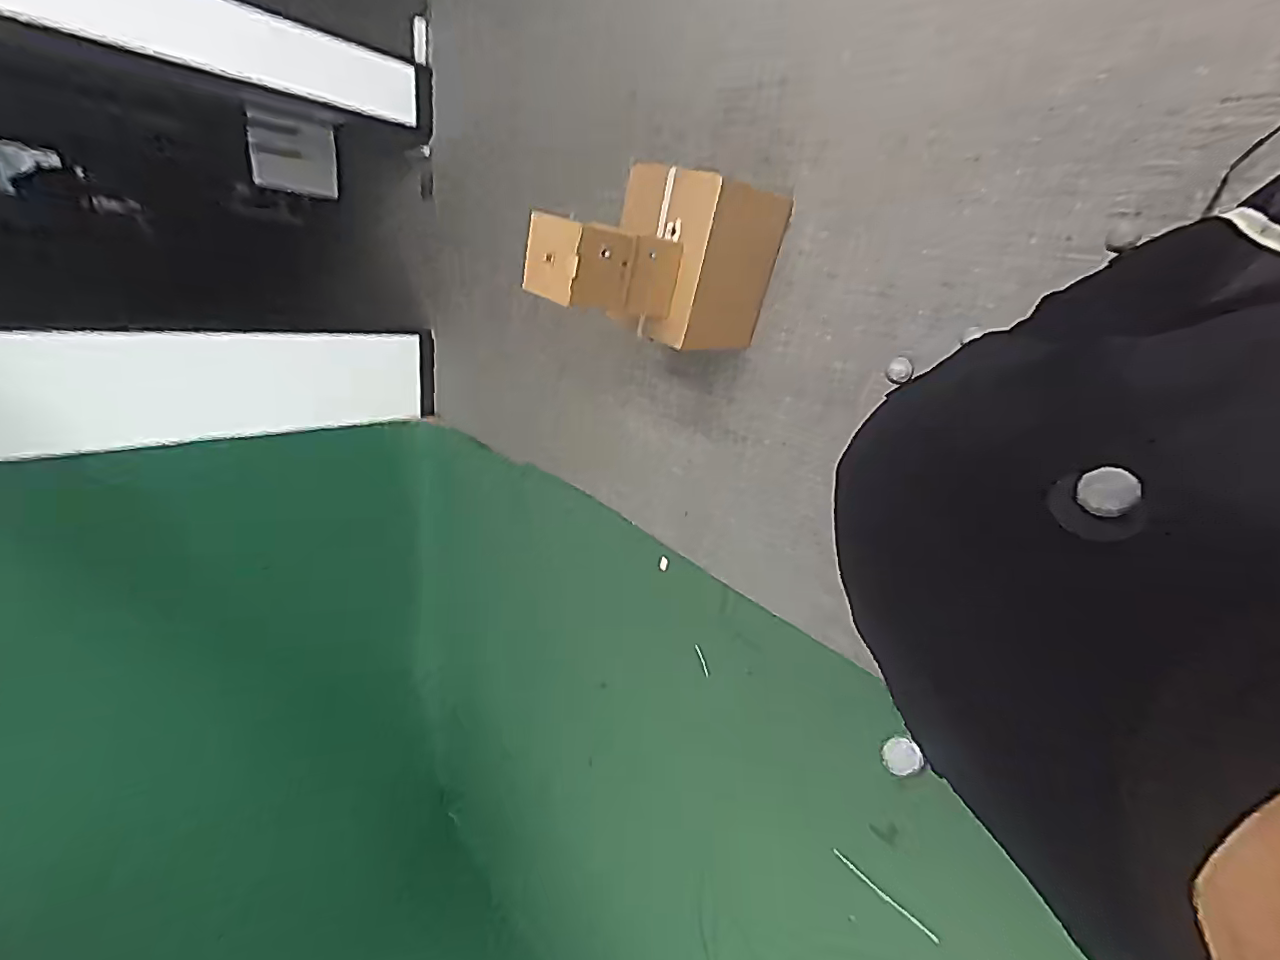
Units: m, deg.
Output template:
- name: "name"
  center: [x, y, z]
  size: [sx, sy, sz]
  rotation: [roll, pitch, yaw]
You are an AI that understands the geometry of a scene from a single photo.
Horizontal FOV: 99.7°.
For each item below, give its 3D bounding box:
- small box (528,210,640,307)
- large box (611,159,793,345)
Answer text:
- name: "small box"
  center: [-0.125, -0.493, 1.215]
  size: [0.179, 0.176, 0.168]
  rotation: [33, 120, 37]
- name: "large box"
  center: [0.162, -0.608, 1.484]
  size: [0.320, 0.320, 0.408]
  rotation: [32, 121, 35]
